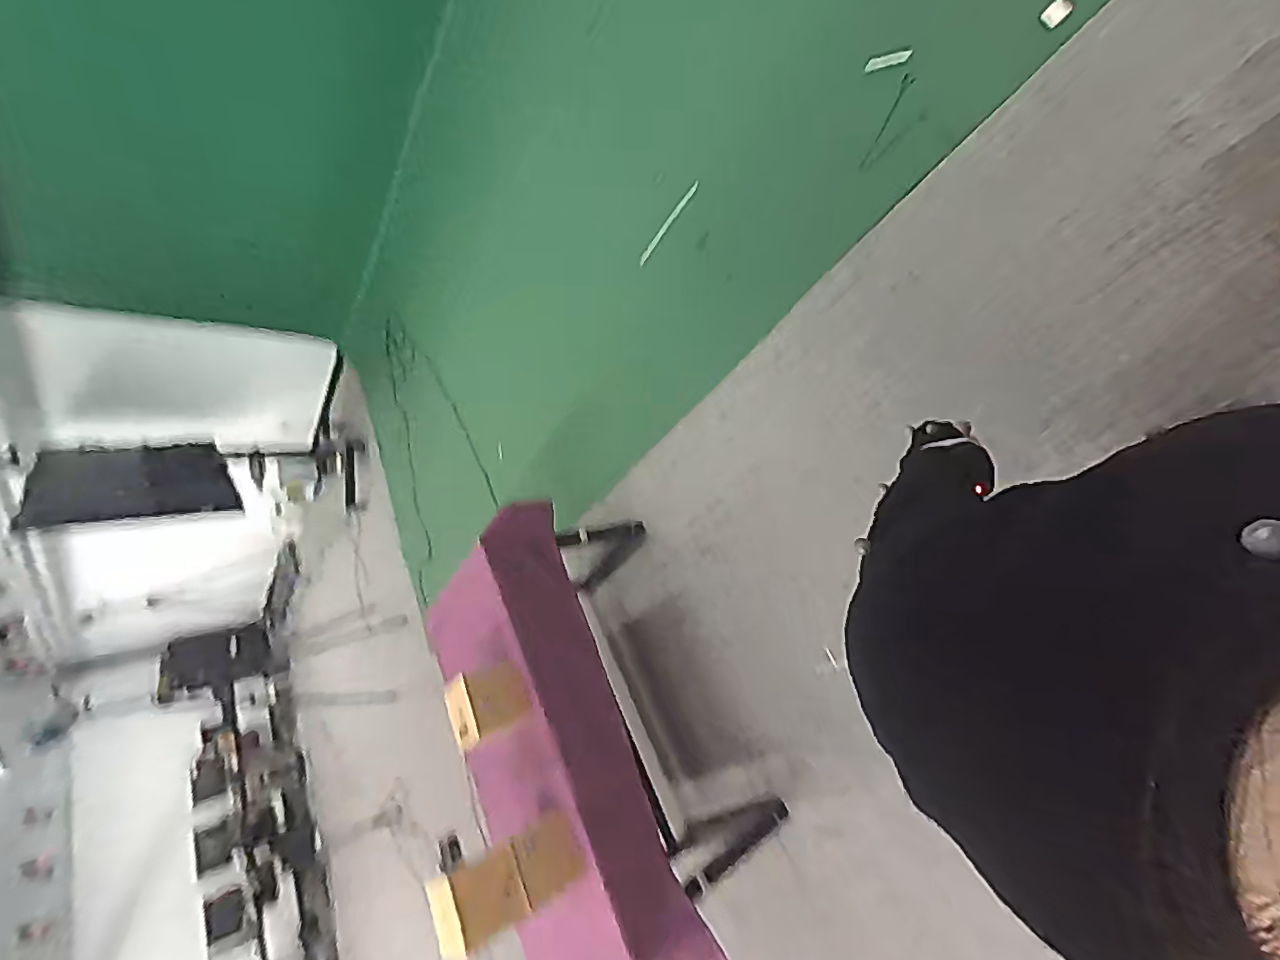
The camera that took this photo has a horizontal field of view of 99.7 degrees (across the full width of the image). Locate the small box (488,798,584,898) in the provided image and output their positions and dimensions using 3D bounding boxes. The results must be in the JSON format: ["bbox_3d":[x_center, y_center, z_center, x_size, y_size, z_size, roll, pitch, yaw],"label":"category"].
[{"bbox_3d":[-0.279,0.985,1.452,0.168,0.176,0.179,-48,60,39],"label":"small box"}]

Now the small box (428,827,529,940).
[{"bbox_3d":[-0.400,0.999,1.343,0.179,0.176,0.168,-47,60,38],"label":"small box"}]

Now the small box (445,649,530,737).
[{"bbox_3d":[-0.451,0.629,1.606,0.168,0.176,0.179,-44,62,39],"label":"small box"}]
